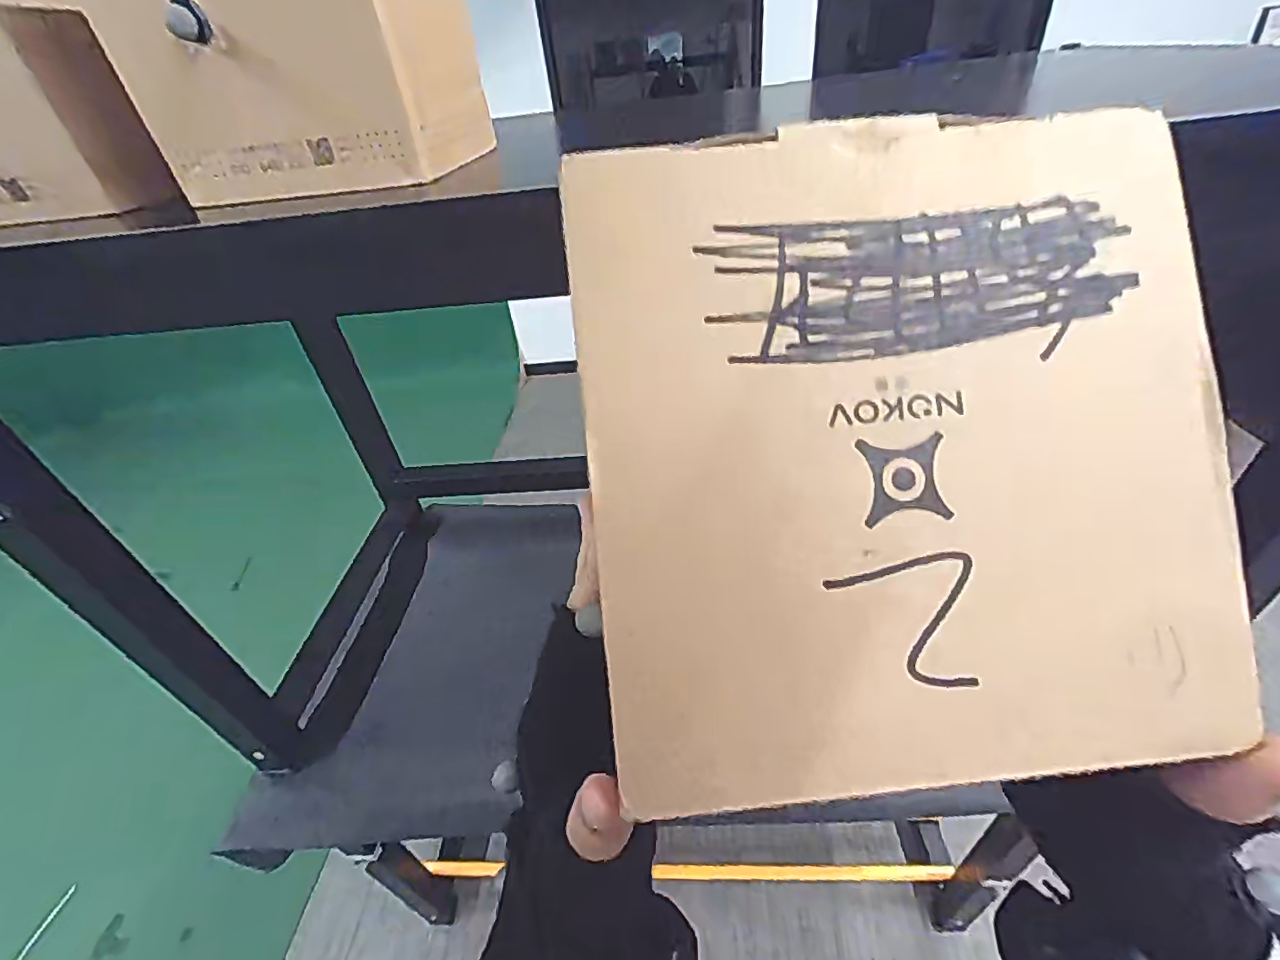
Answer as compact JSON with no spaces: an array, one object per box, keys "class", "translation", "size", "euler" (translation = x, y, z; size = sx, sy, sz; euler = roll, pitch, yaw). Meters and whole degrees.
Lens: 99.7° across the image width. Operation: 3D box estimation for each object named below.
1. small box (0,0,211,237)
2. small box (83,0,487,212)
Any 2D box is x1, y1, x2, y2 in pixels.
[{"class":"small box","translation":[-0.446,-0.292,0.406],"size":[0.168,0.176,0.179],"euler":[-3,39,6]},{"class":"small box","translation":[-0.222,-0.294,0.375],"size":[0.168,0.176,0.179],"euler":[-3,37,6]}]
